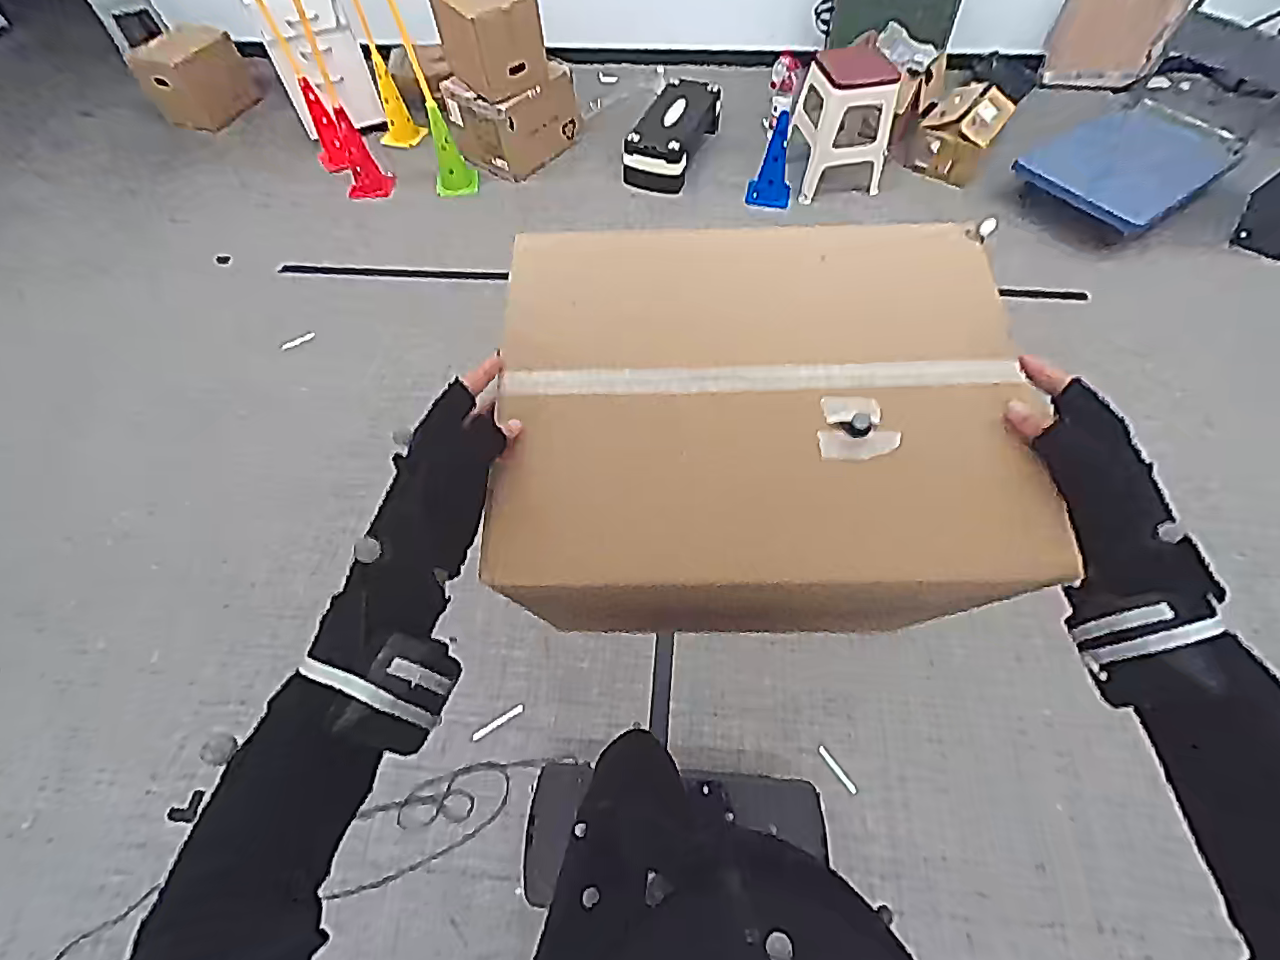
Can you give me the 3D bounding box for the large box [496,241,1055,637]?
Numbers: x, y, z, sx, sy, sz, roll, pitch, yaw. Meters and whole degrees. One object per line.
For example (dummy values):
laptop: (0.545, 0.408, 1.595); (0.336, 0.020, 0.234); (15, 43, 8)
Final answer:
large box: (0.092, -0.015, 0.573); (0.408, 0.320, 0.320); (-1, 68, 1)
